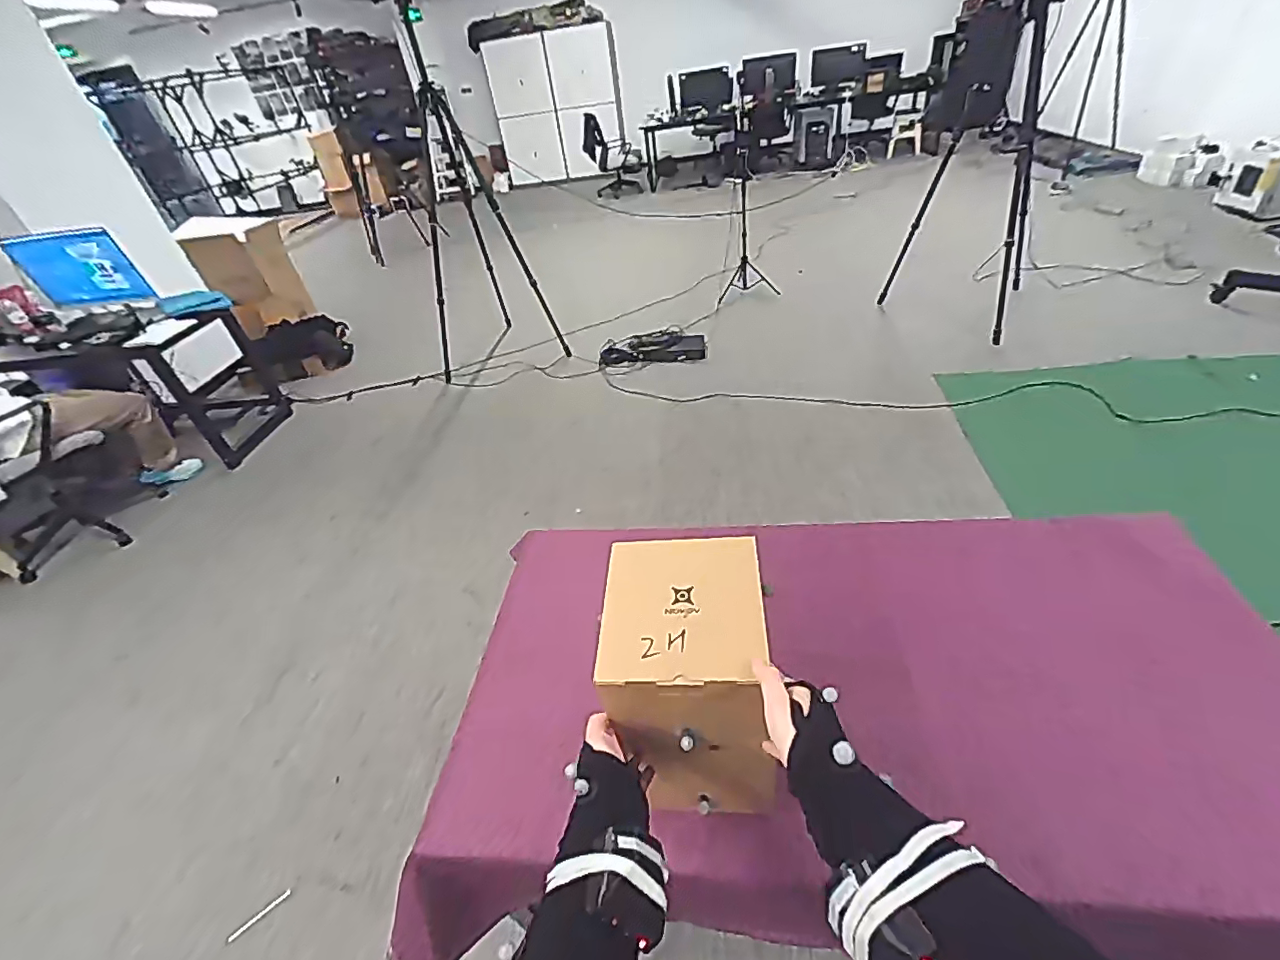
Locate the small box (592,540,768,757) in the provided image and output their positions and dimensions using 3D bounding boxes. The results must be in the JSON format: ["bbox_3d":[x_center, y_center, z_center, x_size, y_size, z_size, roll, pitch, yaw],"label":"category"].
[{"bbox_3d":[0.051,0.189,0.611,0.168,0.176,0.179,-4,43,9],"label":"small box"}]

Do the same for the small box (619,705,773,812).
[{"bbox_3d":[0.076,0.320,0.720,0.179,0.176,0.168,-3,38,7],"label":"small box"}]
